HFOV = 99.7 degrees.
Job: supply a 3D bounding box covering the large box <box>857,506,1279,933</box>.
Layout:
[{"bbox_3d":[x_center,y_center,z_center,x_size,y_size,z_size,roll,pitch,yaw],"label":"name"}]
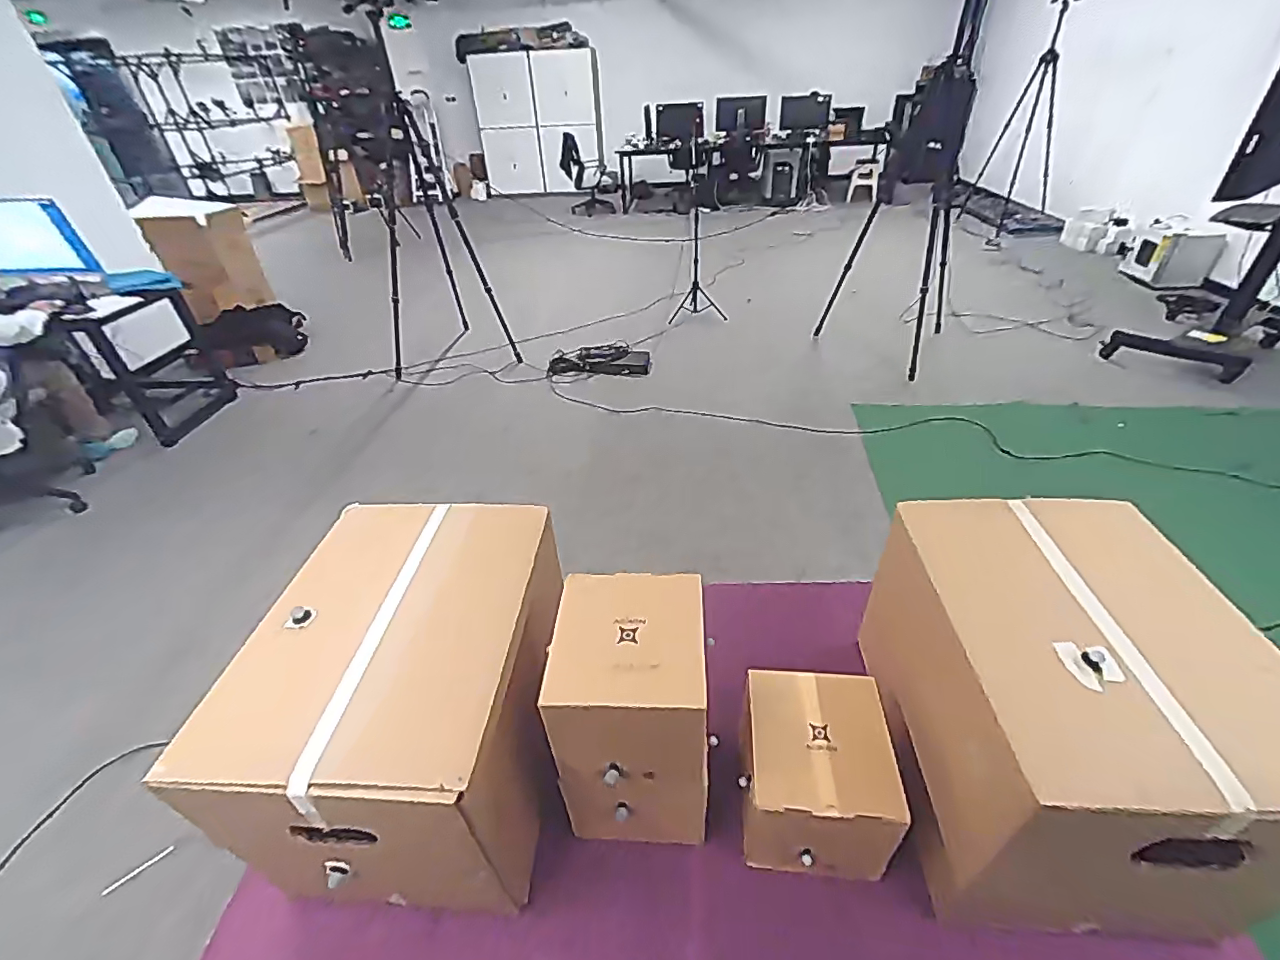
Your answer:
[{"bbox_3d":[0.513,0.280,0.698,0.320,0.320,0.408,1,38,5],"label":"large box"}]
